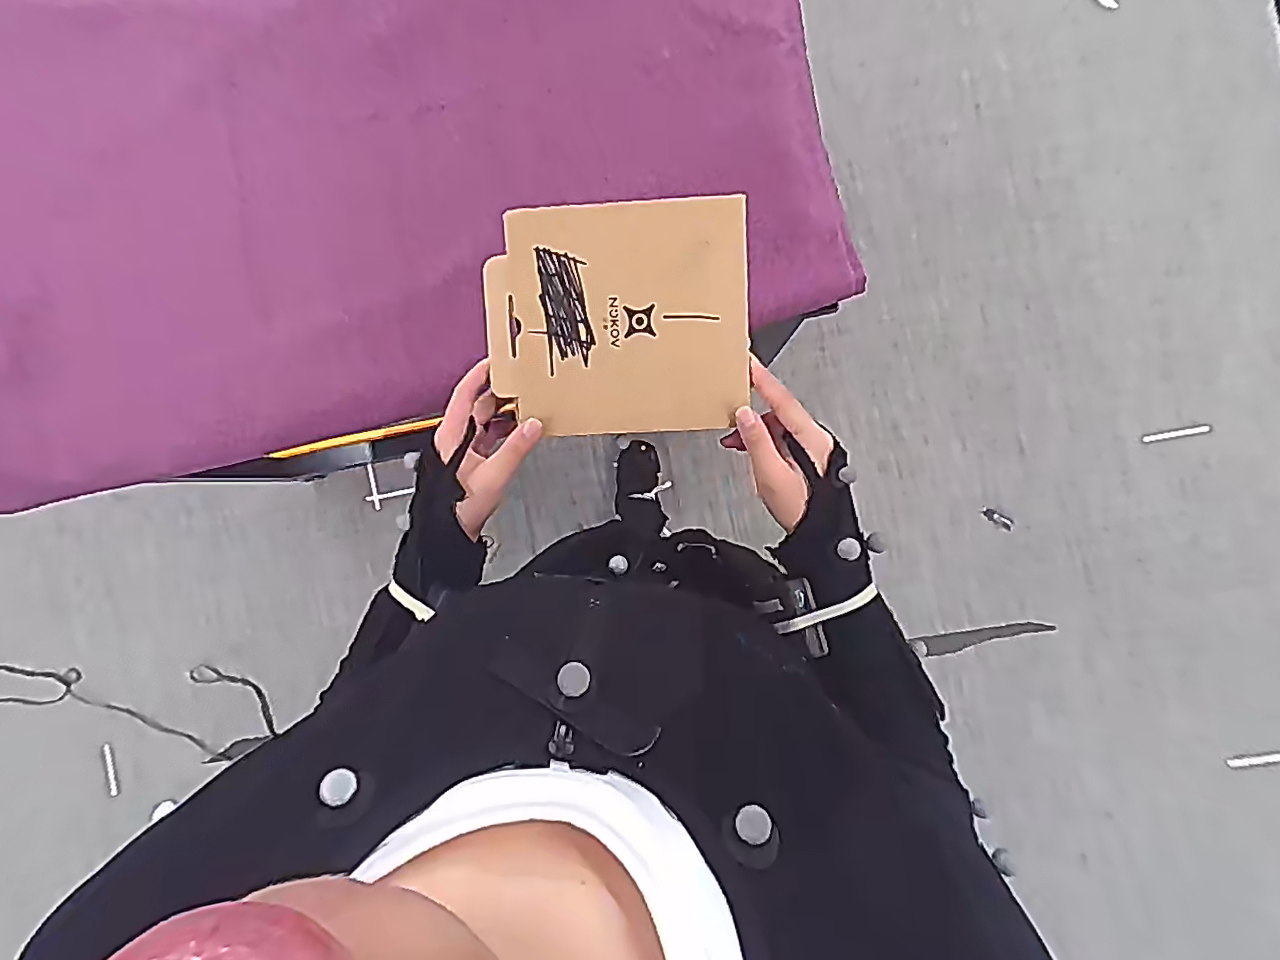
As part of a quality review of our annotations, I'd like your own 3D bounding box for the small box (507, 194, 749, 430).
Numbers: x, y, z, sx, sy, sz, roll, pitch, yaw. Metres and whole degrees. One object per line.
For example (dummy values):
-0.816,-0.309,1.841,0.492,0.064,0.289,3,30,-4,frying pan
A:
-0.004,-0.128,0.475,0.179,0.176,0.168,-2,97,2,small box
